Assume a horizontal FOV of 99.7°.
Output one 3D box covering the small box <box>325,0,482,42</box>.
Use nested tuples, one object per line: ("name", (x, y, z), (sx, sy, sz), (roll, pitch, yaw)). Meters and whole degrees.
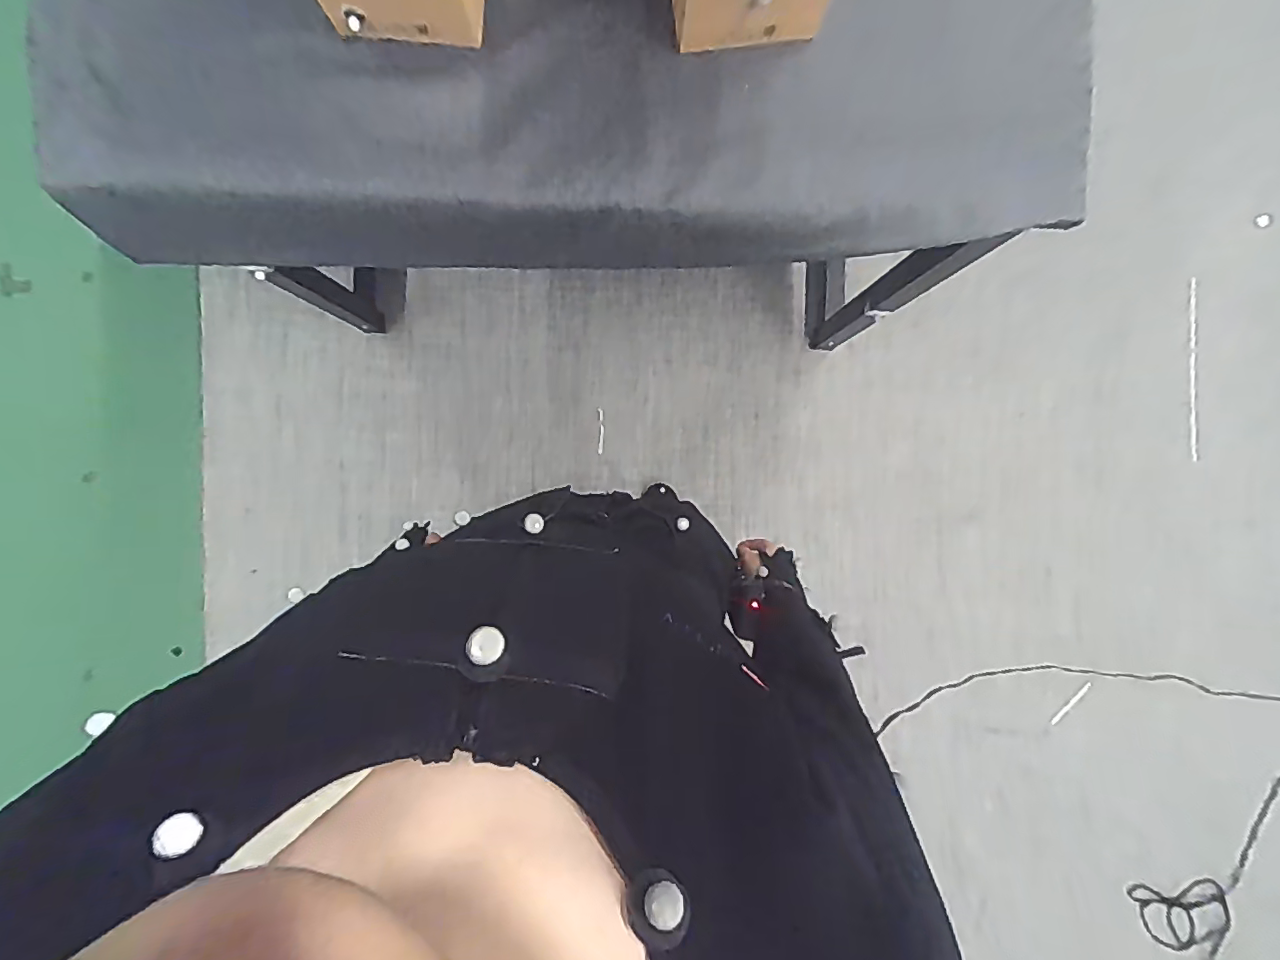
("small box", (-0.259, -0.595, 0.547), (0.168, 0.176, 0.179), (4, 89, -2))

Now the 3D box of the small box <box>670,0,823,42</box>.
("small box", (0.114, -0.595, 0.555), (0.168, 0.176, 0.179), (-8, 91, -1))
